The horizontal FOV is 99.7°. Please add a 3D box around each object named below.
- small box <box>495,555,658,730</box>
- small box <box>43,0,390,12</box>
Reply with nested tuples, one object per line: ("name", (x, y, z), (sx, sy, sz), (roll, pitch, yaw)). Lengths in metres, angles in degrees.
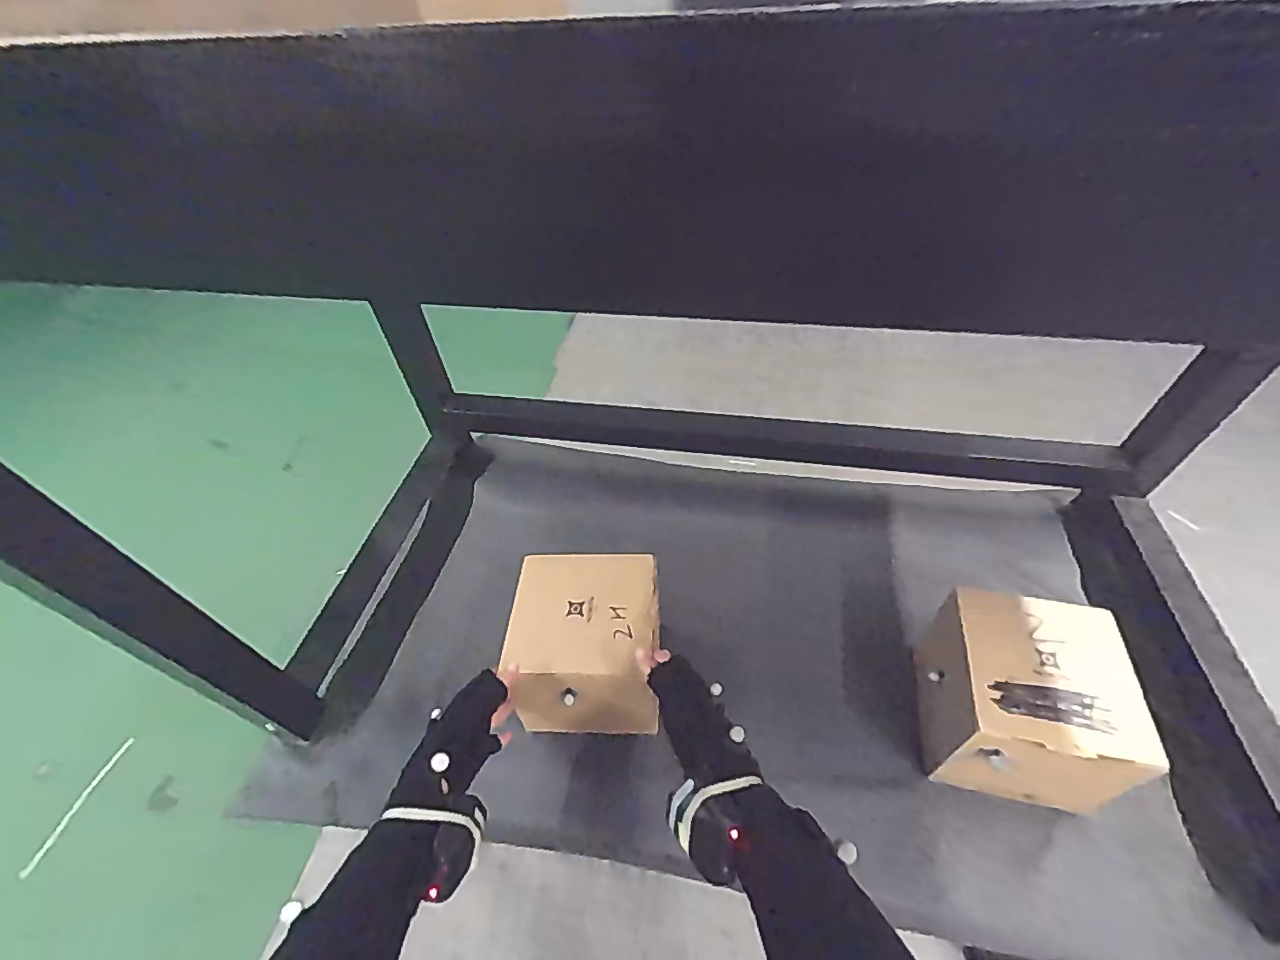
("small box", (-0.069, 0.215, 0.711), (0.179, 0.176, 0.168), (0, 46, 4))
("small box", (-0.143, -0.270, 0.175), (0.168, 0.176, 0.179), (5, 48, 8))
